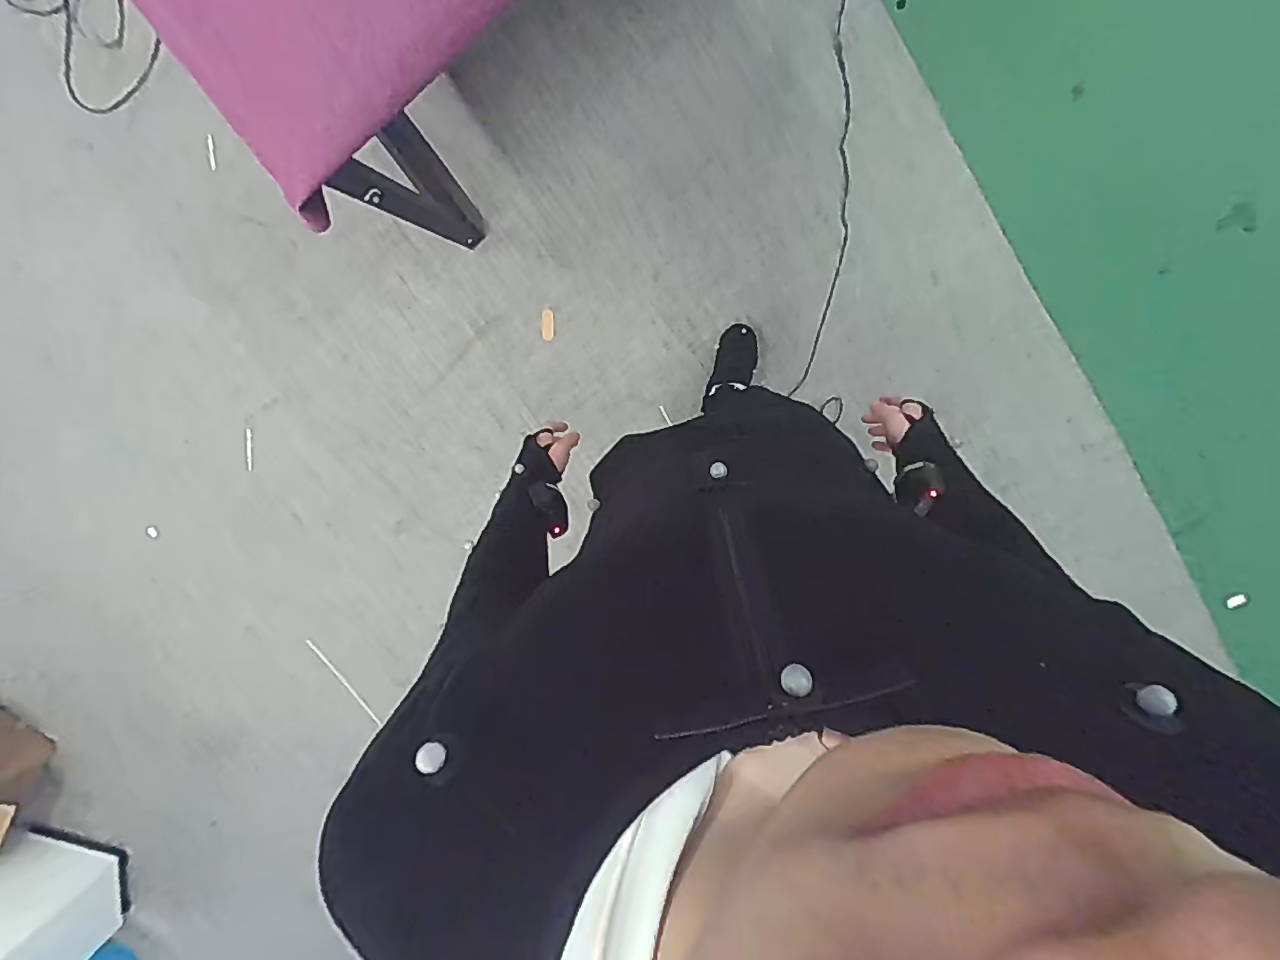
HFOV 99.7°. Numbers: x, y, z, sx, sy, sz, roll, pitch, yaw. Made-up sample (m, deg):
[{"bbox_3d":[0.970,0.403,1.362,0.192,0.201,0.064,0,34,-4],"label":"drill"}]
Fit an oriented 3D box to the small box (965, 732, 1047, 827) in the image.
[{"bbox_3d":[1.129,0.912,1.653,0.179,0.176,0.168,-24,100,11],"label":"small box"}]
